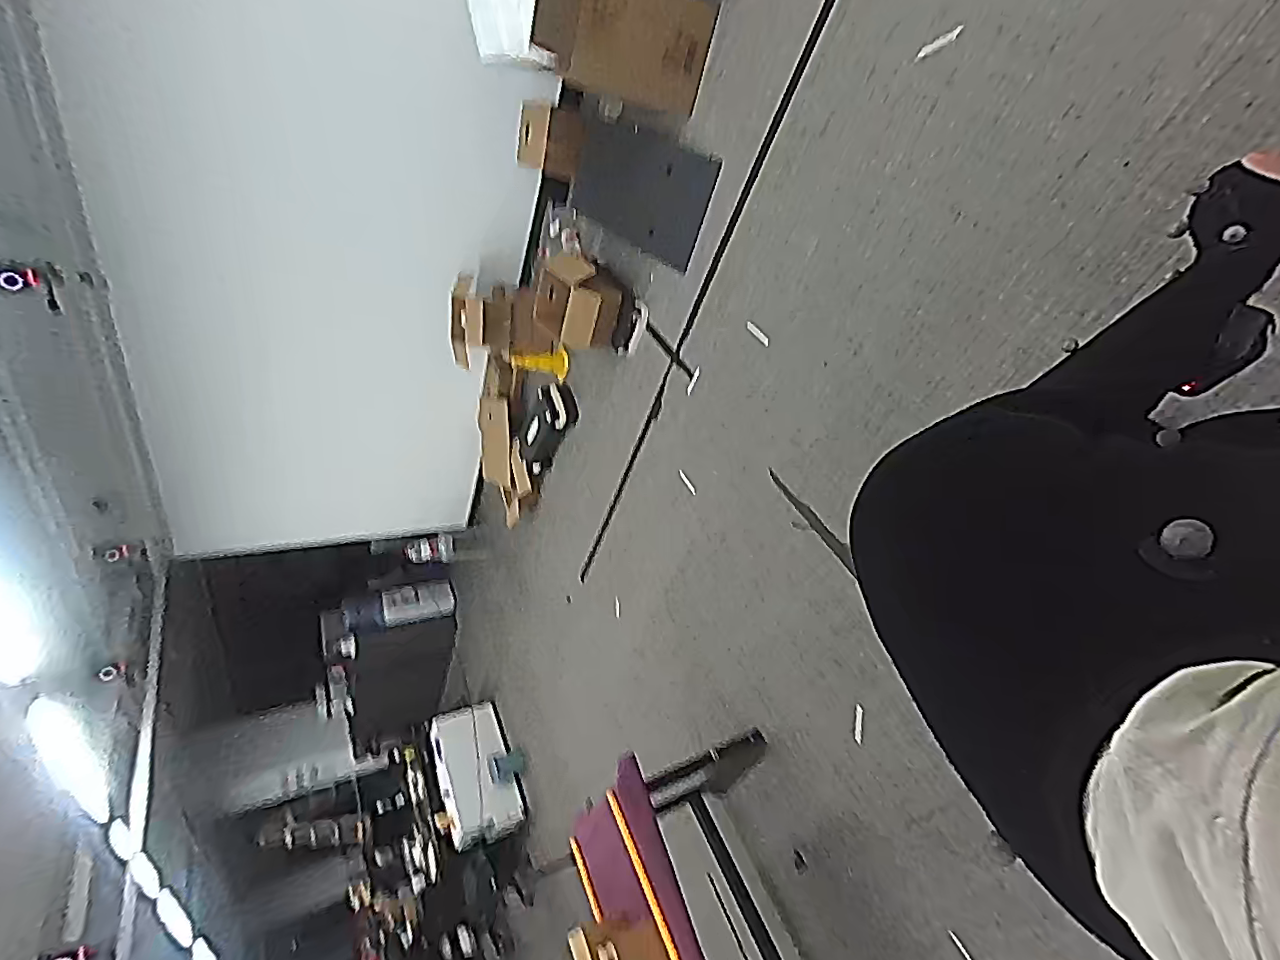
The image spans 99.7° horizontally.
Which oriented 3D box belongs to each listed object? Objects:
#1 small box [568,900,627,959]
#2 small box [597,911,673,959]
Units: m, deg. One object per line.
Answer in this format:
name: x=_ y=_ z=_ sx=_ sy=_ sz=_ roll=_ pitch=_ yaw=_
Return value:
small box: x=-0.138 y=1.672 z=1.970 sx=0.179 sy=0.176 sz=0.168 roll=58 pitch=137 yaw=34
small box: x=-0.013 y=1.545 z=1.762 sx=0.179 sy=0.176 sz=0.168 roll=60 pitch=140 yaw=33
